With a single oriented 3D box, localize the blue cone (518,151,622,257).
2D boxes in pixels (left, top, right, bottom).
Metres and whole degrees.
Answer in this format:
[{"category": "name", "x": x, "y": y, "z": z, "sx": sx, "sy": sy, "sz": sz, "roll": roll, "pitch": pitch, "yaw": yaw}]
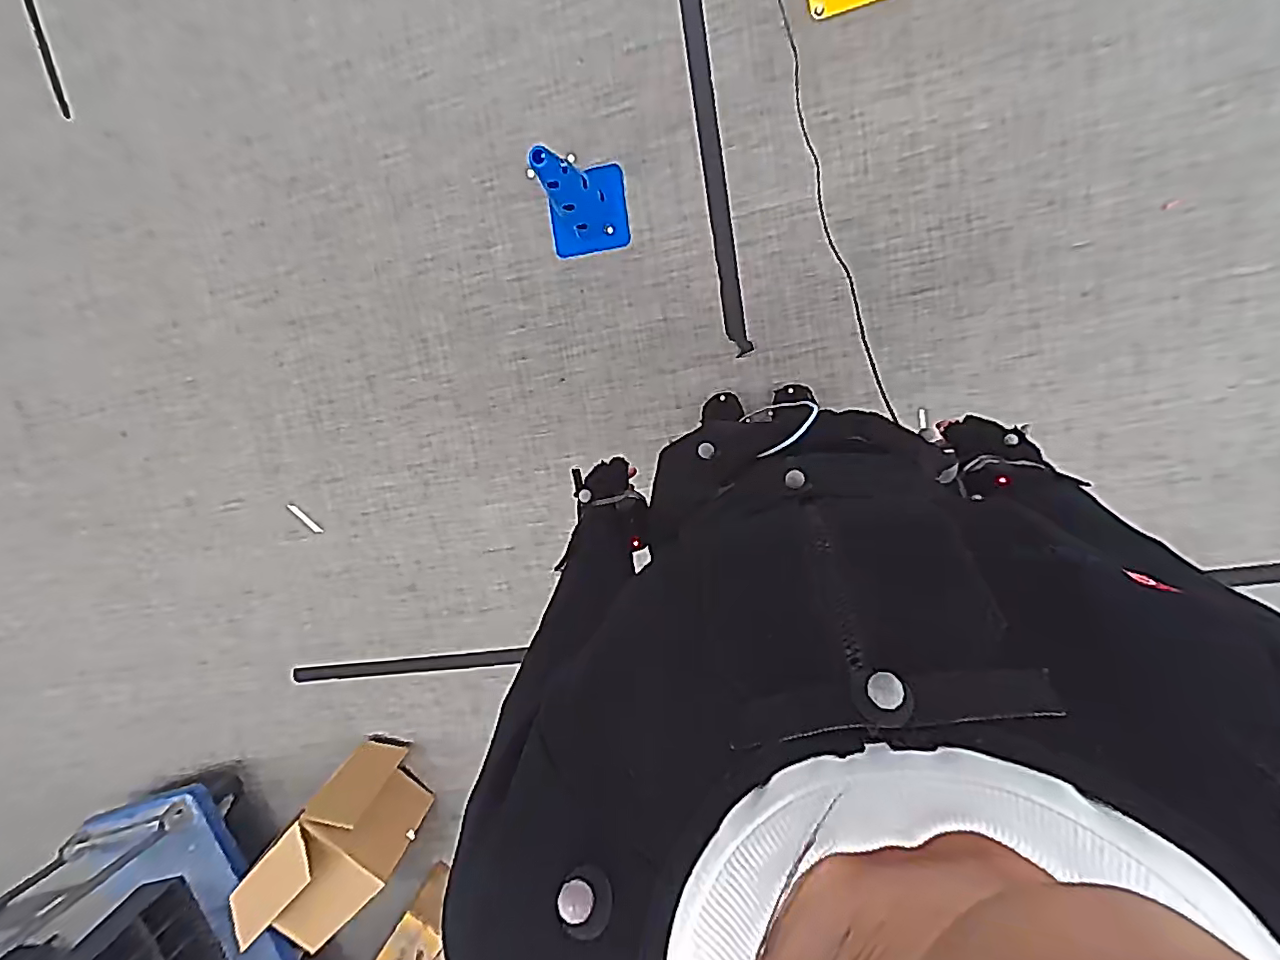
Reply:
[{"category": "blue cone", "x": -0.174, "y": -0.652, "z": 1.220, "sx": 0.192, "sy": 0.380, "sz": 0.193, "roll": -4, "pitch": 99, "yaw": 12}]
